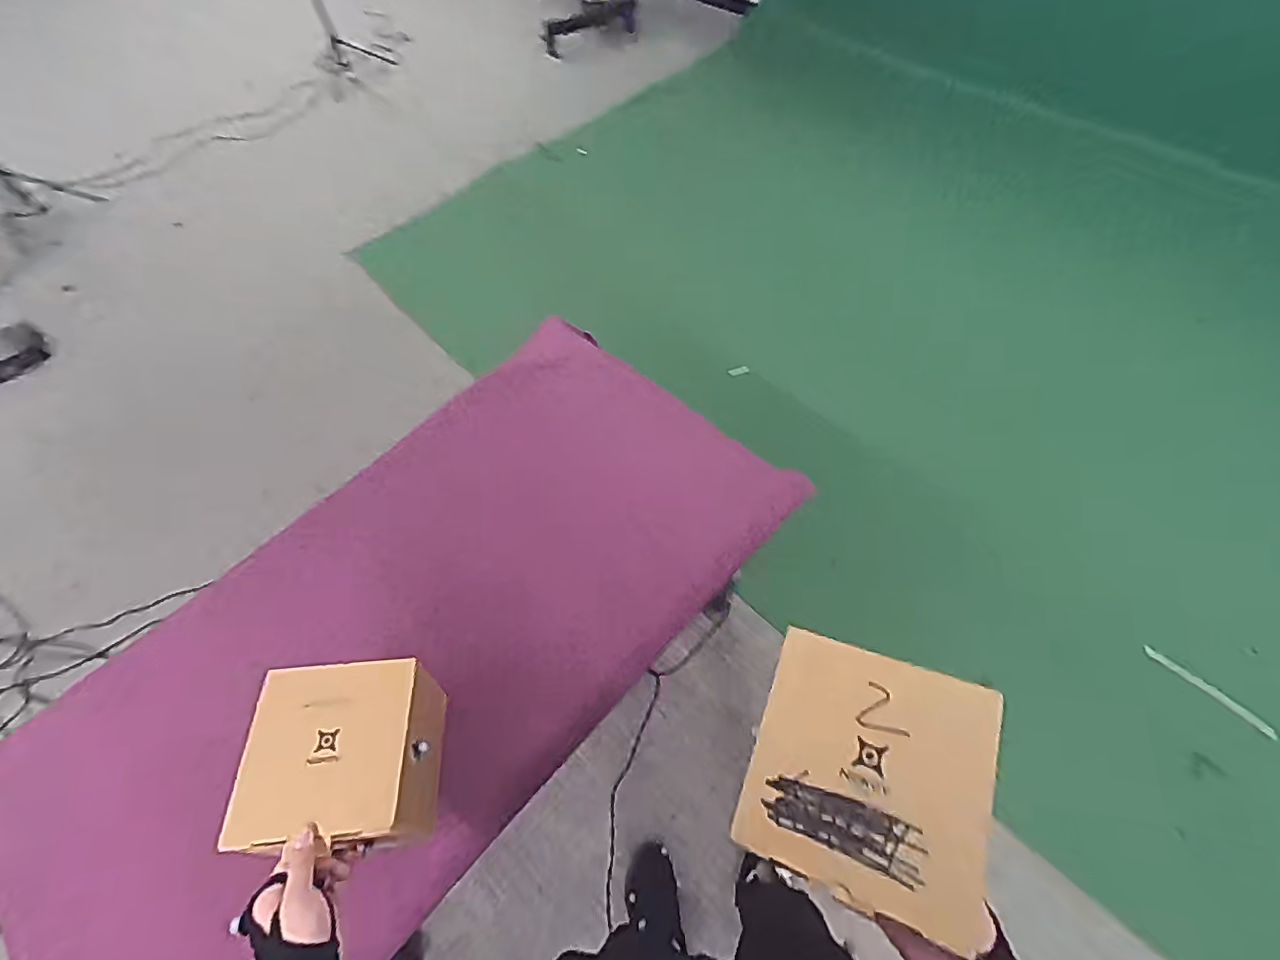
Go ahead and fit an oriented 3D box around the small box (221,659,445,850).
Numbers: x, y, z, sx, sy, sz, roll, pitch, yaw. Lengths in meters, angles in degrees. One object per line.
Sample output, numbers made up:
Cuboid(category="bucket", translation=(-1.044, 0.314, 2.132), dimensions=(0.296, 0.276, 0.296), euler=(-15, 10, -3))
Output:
Cuboid(category="small box", translation=(-0.341, 0.330, 0.646), dimensions=(0.168, 0.176, 0.179), euler=(-2, 54, -7))
